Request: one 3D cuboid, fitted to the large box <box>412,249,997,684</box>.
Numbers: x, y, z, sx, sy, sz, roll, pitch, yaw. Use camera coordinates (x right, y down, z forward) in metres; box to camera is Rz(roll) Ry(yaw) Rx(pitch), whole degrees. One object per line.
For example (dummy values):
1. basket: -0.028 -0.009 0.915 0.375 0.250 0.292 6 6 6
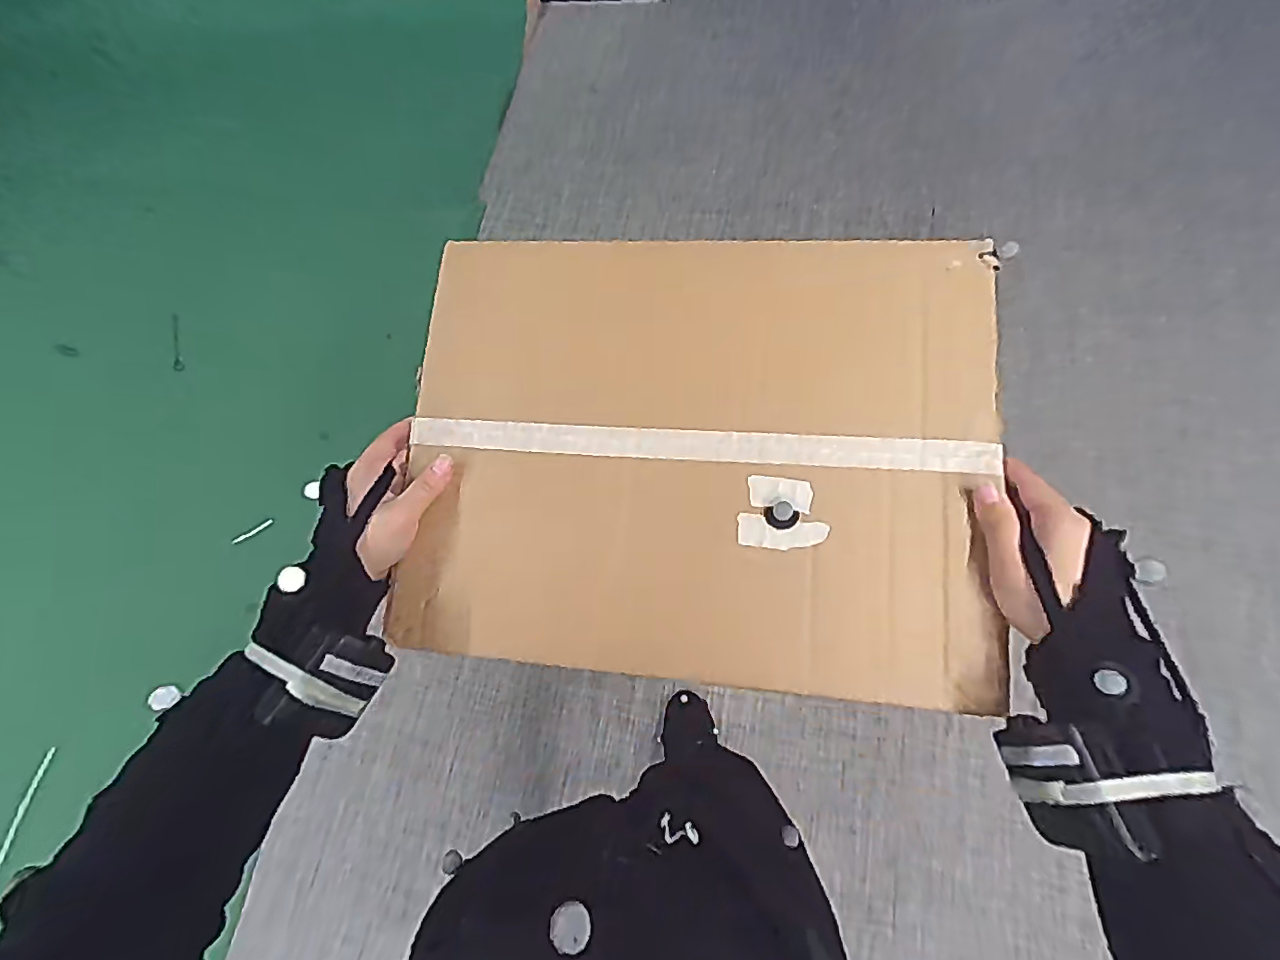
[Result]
1. large box: 0.055 0.000 0.537 0.408 0.320 0.320 3 80 7
